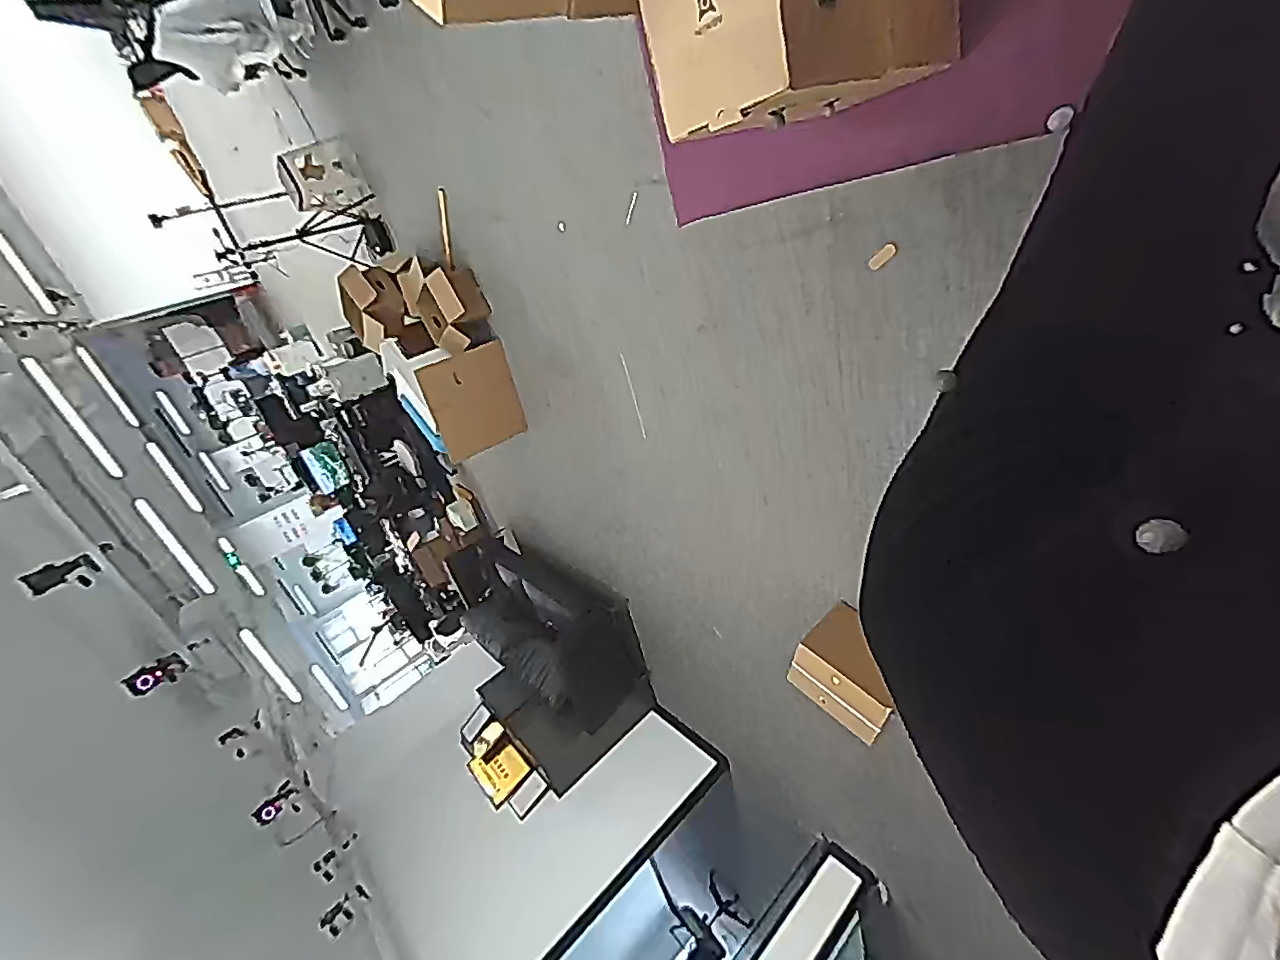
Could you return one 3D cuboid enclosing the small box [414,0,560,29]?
[{"bbox_3d":[-0.176,-0.601,0.546,0.179,0.176,0.168,47,149,15],"label":"small box"}]

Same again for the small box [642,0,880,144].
[{"bbox_3d":[0.125,-0.474,0.549,0.168,0.176,0.179,15,130,48],"label":"small box"}]

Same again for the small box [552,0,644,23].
[{"bbox_3d":[-0.056,-0.677,0.624,0.168,0.176,0.179,47,148,14],"label":"small box"}]

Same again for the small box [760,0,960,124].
[{"bbox_3d":[0.246,-0.545,0.634,0.179,0.176,0.168,14,128,49],"label":"small box"}]
